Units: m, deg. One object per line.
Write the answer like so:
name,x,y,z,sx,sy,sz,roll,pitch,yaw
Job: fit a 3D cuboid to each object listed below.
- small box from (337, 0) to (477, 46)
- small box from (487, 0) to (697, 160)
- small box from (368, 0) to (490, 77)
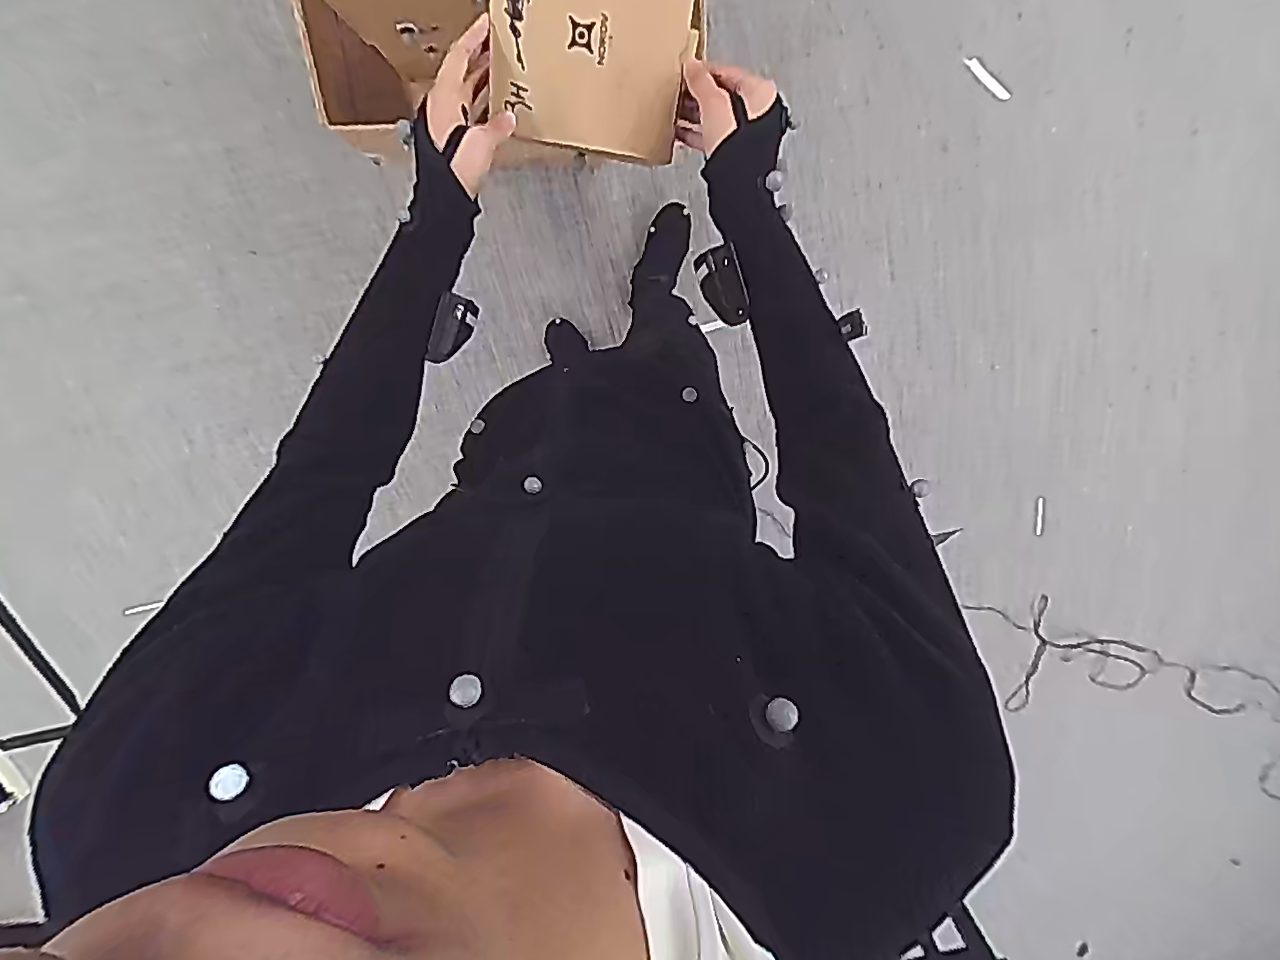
small box,-0.322,-0.700,0.687,0.168,0.176,0.179,-9,110,1
small box,-0.052,-0.428,0.536,0.179,0.176,0.168,4,119,-10
small box,-0.325,-0.757,0.841,0.179,0.176,0.168,-8,111,-2
